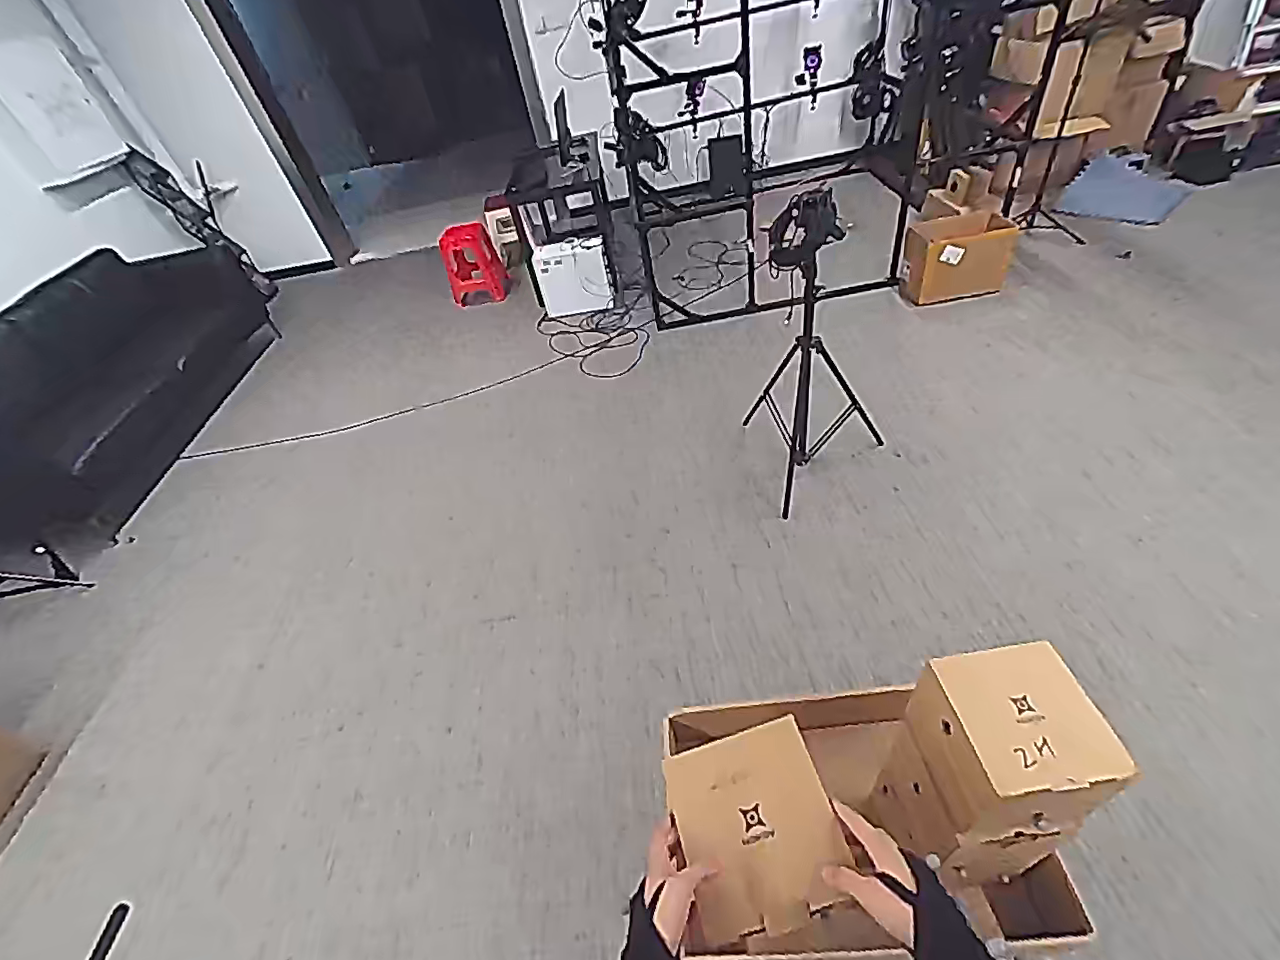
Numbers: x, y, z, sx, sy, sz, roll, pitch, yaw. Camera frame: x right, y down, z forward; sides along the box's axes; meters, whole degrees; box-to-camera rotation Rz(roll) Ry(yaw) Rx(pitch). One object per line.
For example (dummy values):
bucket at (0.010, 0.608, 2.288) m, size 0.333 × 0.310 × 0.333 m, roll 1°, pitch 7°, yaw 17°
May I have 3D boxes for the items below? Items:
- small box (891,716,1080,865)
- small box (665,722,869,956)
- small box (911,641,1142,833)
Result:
small box at (0.513, 0.474, 0.836) m, size 0.168 × 0.176 × 0.179 m, roll -10°, pitch 43°, yaw 2°
small box at (0.145, 0.413, 0.633) m, size 0.168 × 0.176 × 0.179 m, roll -20°, pitch 51°, yaw 2°
small box at (0.494, 0.347, 0.731) m, size 0.168 × 0.176 × 0.179 m, roll -10°, pitch 44°, yaw 3°
